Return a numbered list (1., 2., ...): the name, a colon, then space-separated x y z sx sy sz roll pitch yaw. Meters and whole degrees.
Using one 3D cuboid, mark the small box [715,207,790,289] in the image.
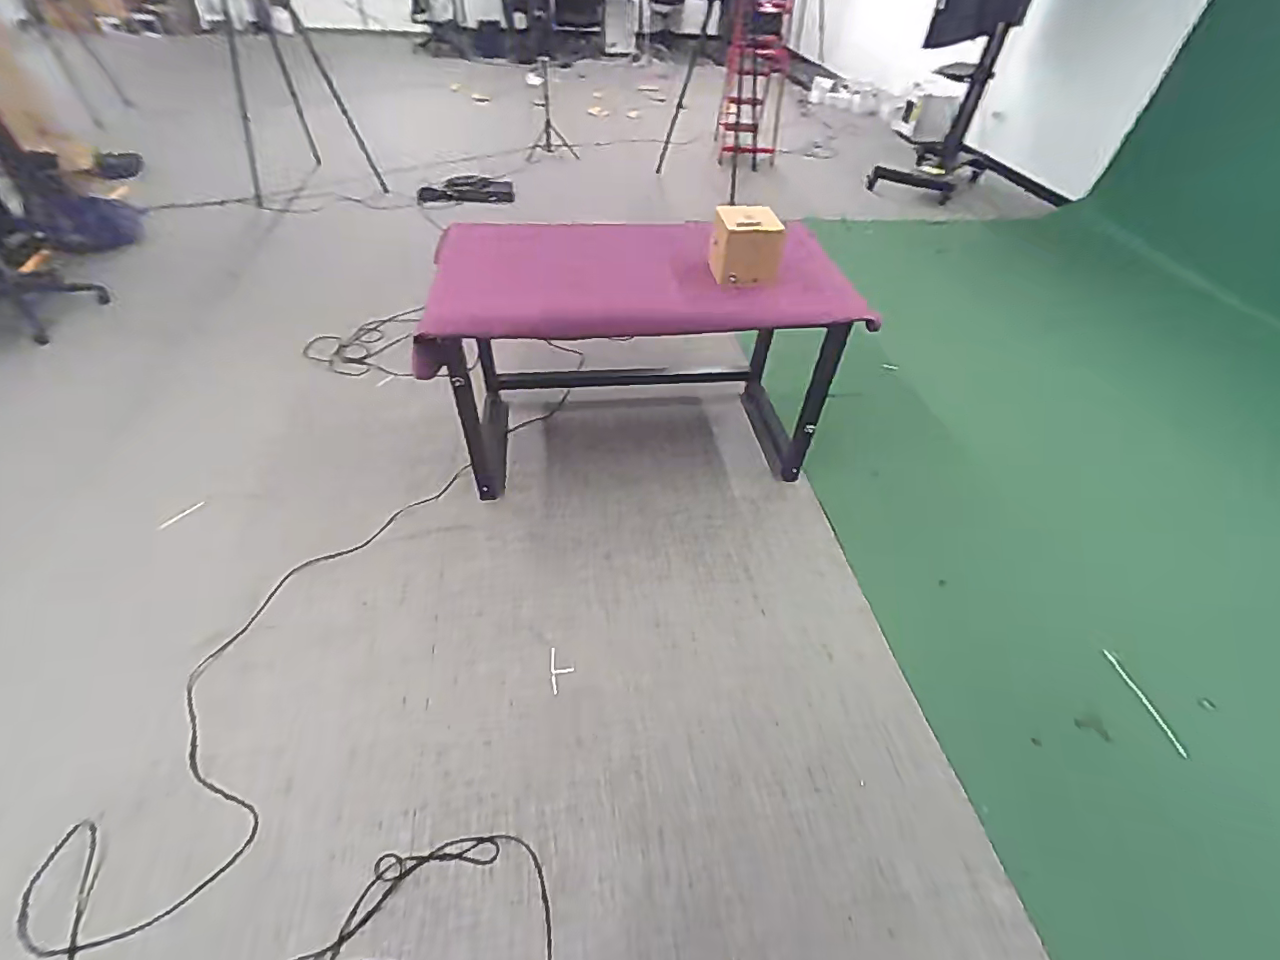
1. small box: 0.321 -0.675 1.576 0.168 0.176 0.179 1 47 -5
